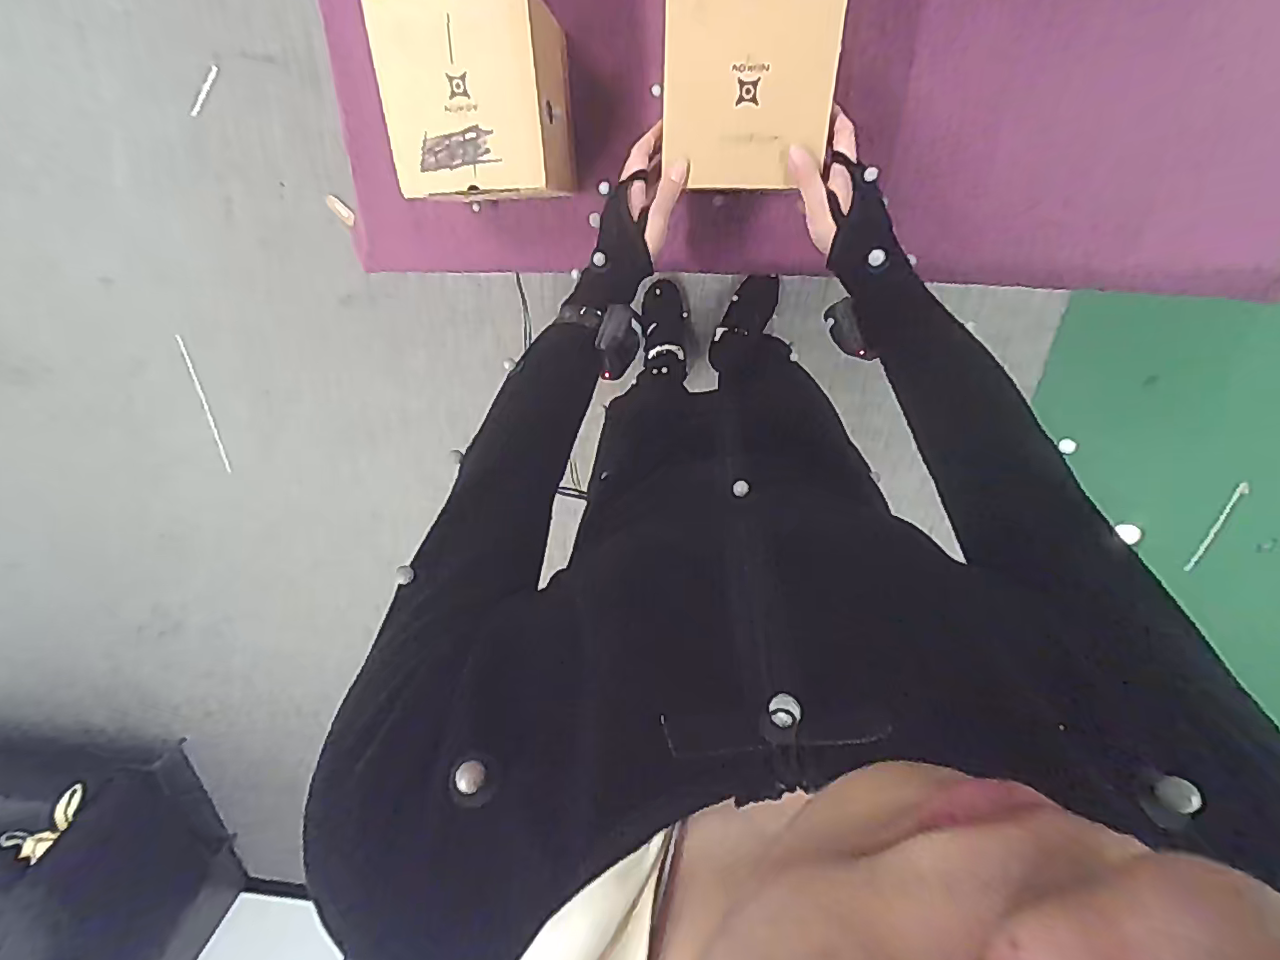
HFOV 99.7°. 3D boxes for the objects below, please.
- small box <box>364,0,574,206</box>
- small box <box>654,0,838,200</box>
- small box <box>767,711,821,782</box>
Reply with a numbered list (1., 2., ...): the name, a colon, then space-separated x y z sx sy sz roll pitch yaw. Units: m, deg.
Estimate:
1. small box: -0.179 -0.419 0.629 0.168 0.176 0.179 1 115 7
2. small box: 0.106 -0.412 0.600 0.168 0.176 0.179 4 118 6
3. small box: 0.587 1.027 2.087 0.168 0.176 0.179 5 119 5
